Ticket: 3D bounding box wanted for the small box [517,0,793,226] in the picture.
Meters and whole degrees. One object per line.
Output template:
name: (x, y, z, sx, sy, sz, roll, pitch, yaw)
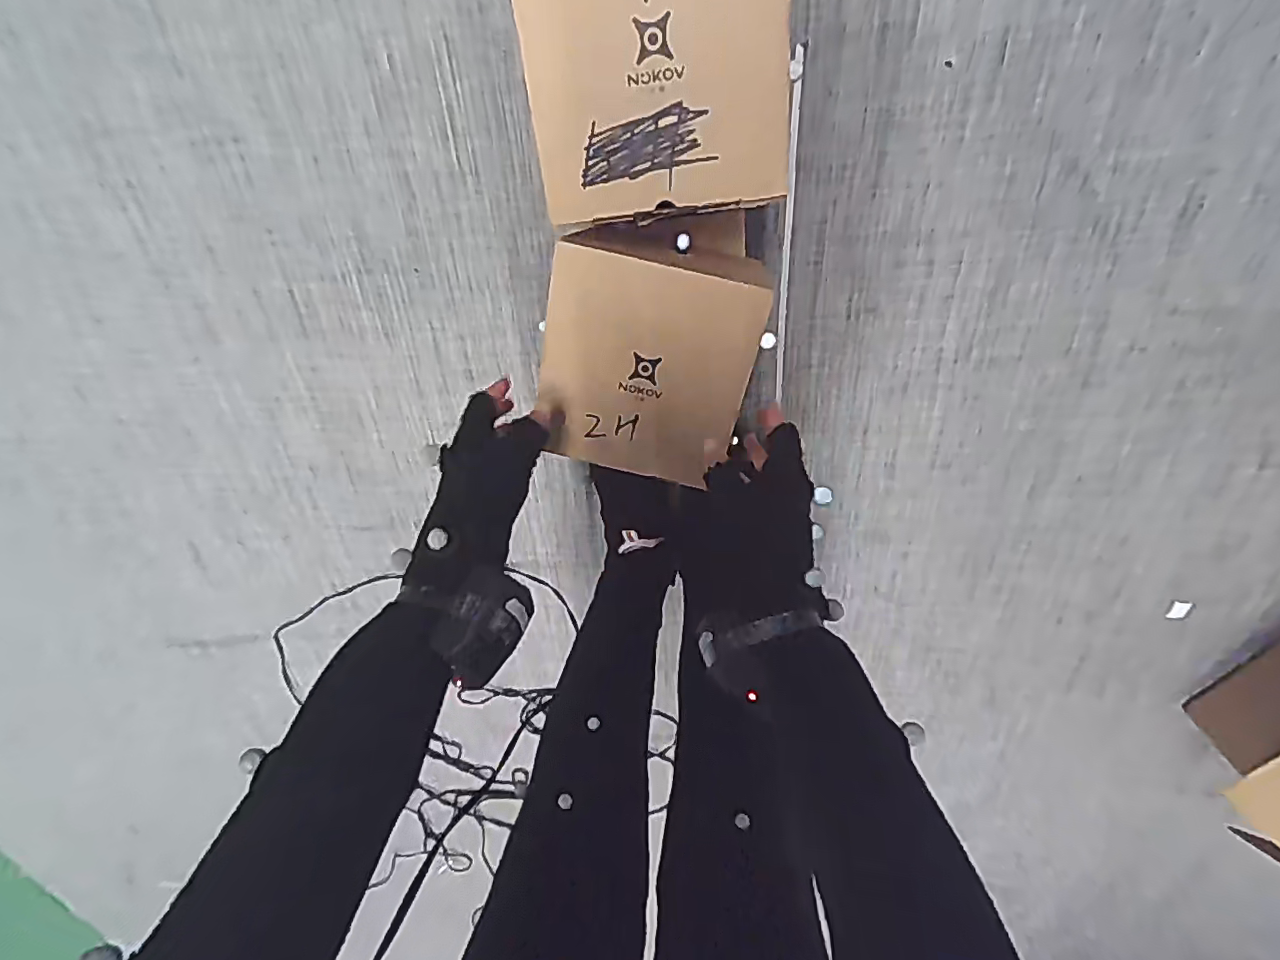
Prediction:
small box: (0.020, -0.297, 0.400, 0.168, 0.176, 0.179, -3, 117, 9)
